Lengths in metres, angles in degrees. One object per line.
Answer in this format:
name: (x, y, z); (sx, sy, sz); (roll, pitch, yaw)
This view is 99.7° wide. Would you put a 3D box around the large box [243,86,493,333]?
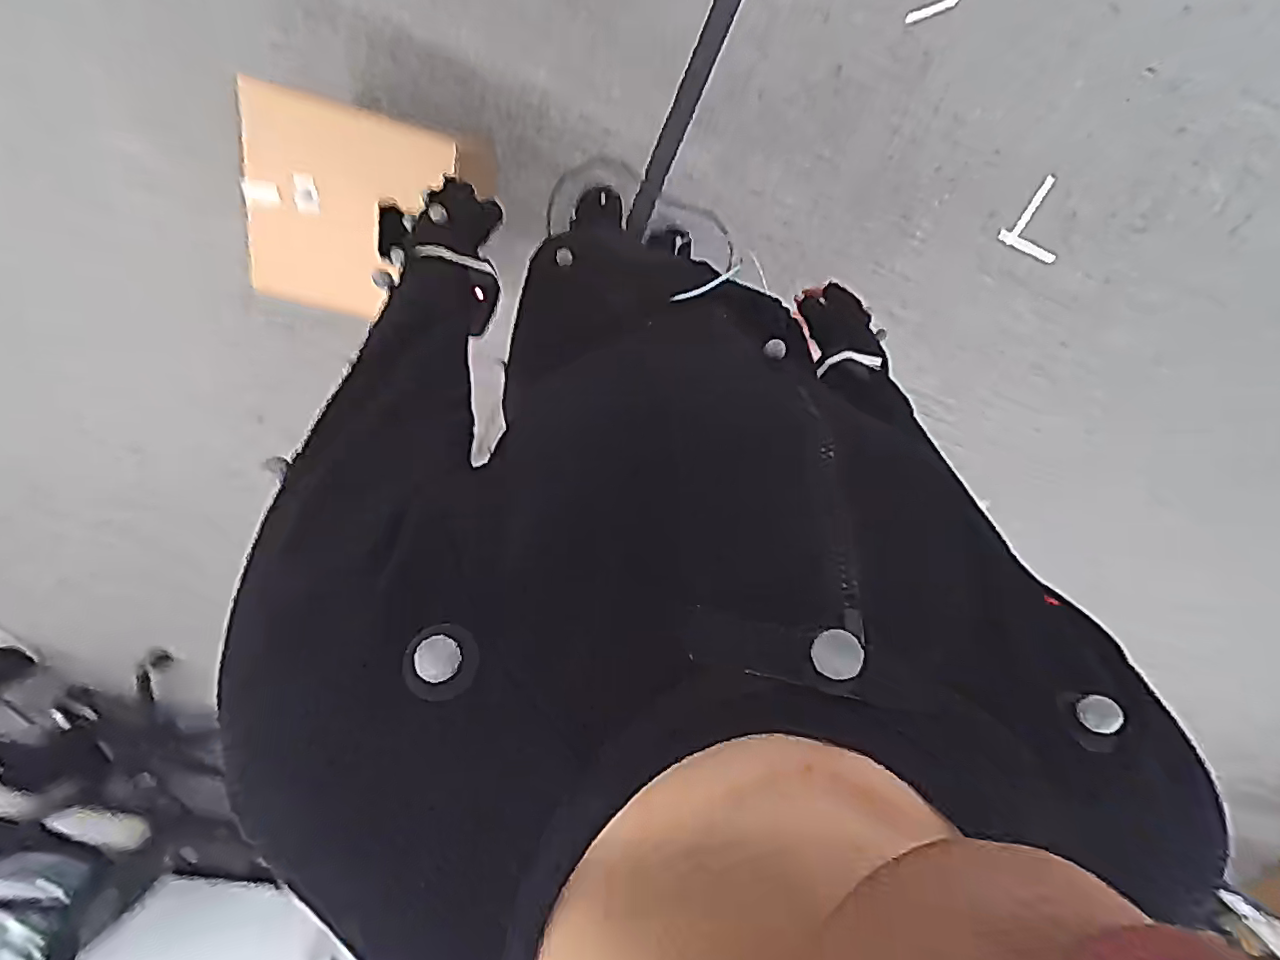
large box: (-0.491, -0.527, 1.053); (0.320, 0.408, 0.320); (13, 119, -13)
